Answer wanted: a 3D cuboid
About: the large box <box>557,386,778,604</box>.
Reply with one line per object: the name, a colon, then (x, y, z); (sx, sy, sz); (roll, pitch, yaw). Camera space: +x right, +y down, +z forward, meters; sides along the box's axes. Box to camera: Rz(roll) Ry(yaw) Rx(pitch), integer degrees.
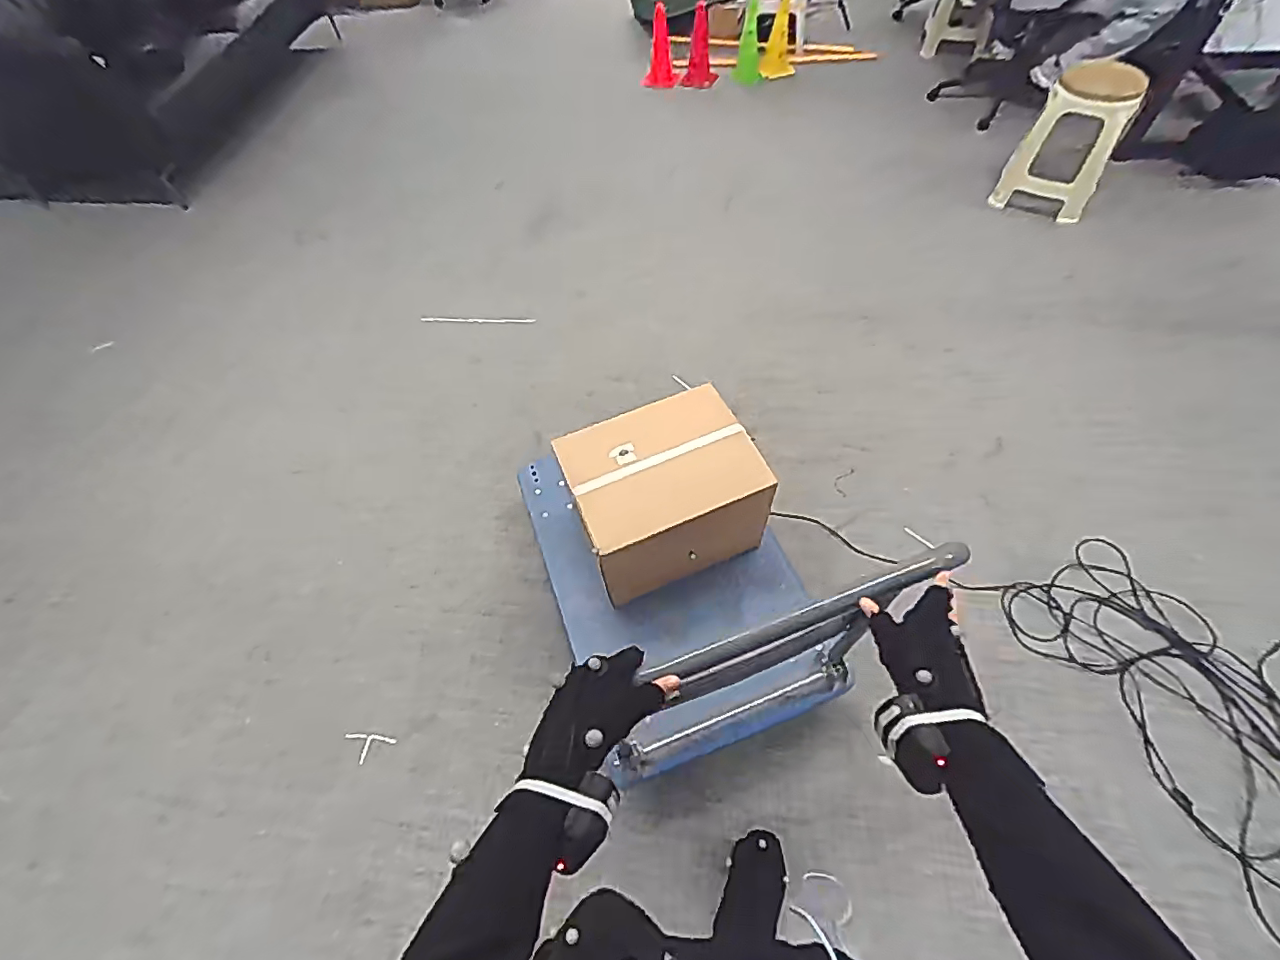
large box: (0.062, 0.042, 1.303); (0.408, 0.320, 0.320); (-22, 59, -9)
